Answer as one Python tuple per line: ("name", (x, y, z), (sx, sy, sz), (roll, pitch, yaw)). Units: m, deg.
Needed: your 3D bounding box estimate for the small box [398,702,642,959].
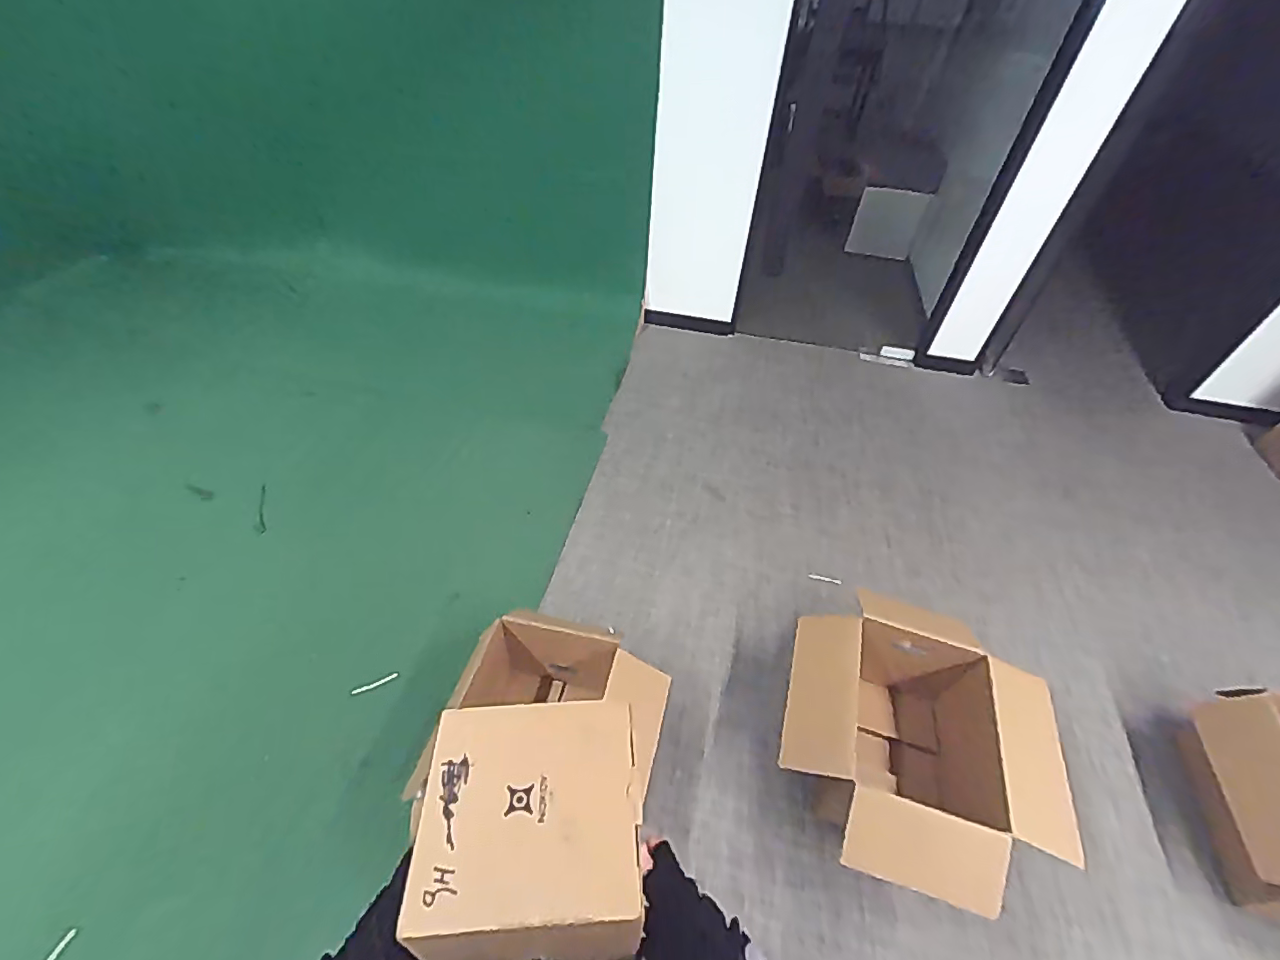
("small box", (-0.094, 0.325, 0.501), (0.179, 0.176, 0.168), (0, 40, -4))
